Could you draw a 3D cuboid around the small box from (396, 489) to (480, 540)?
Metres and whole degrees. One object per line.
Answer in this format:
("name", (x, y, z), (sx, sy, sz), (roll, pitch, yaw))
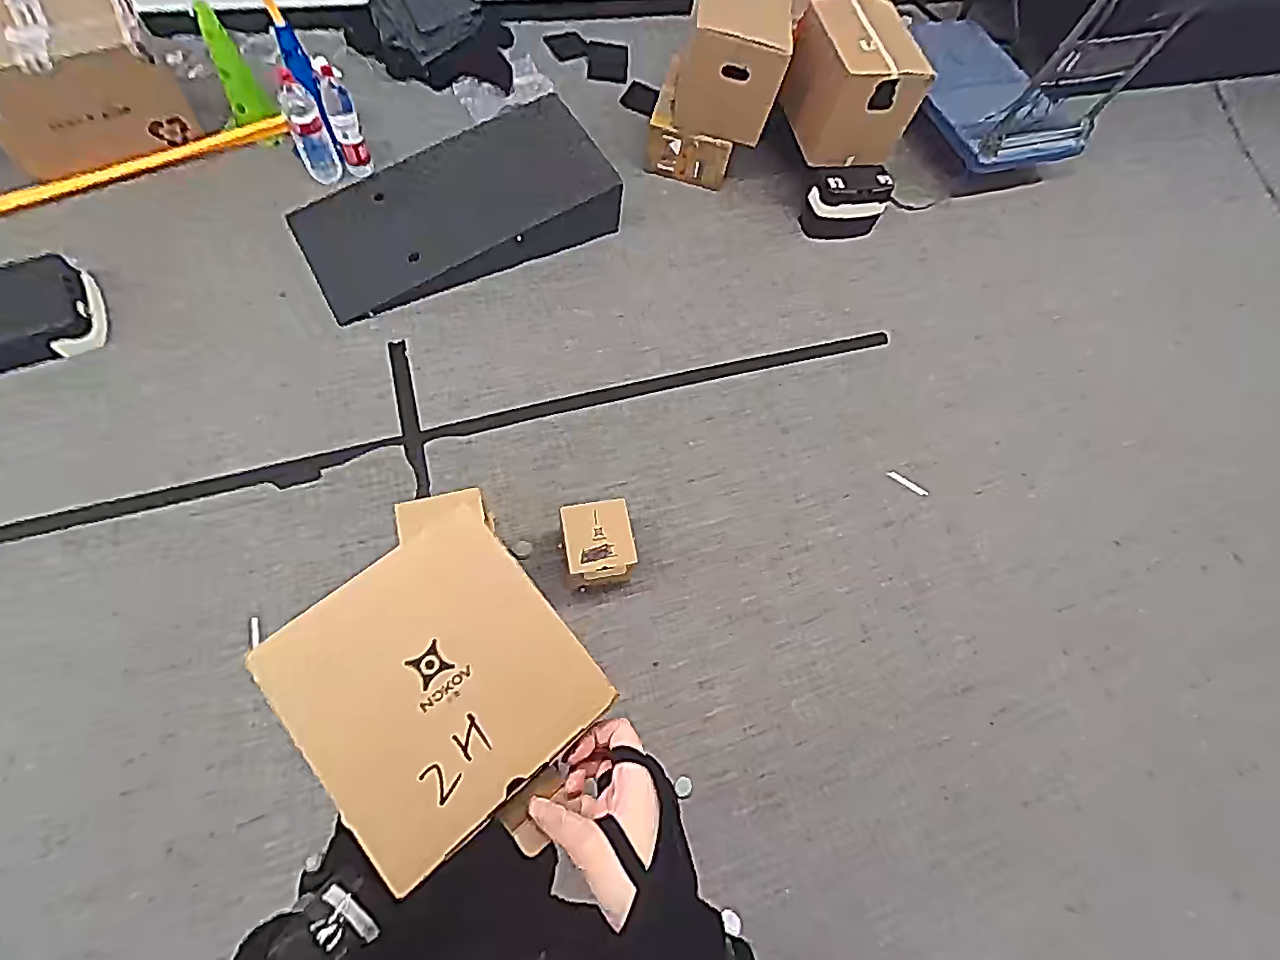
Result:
("small box", (-0.403, 0.138, 1.161), (0.179, 0.176, 0.168), (-12, 68, -13))

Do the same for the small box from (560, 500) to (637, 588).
("small box", (-0.110, 0.170, 1.373), (0.168, 0.176, 0.179), (-7, 67, -12))

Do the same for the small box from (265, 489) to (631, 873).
("small box", (-0.129, 0.142, 0.416), (0.168, 0.176, 0.179), (-36, 77, -18))
